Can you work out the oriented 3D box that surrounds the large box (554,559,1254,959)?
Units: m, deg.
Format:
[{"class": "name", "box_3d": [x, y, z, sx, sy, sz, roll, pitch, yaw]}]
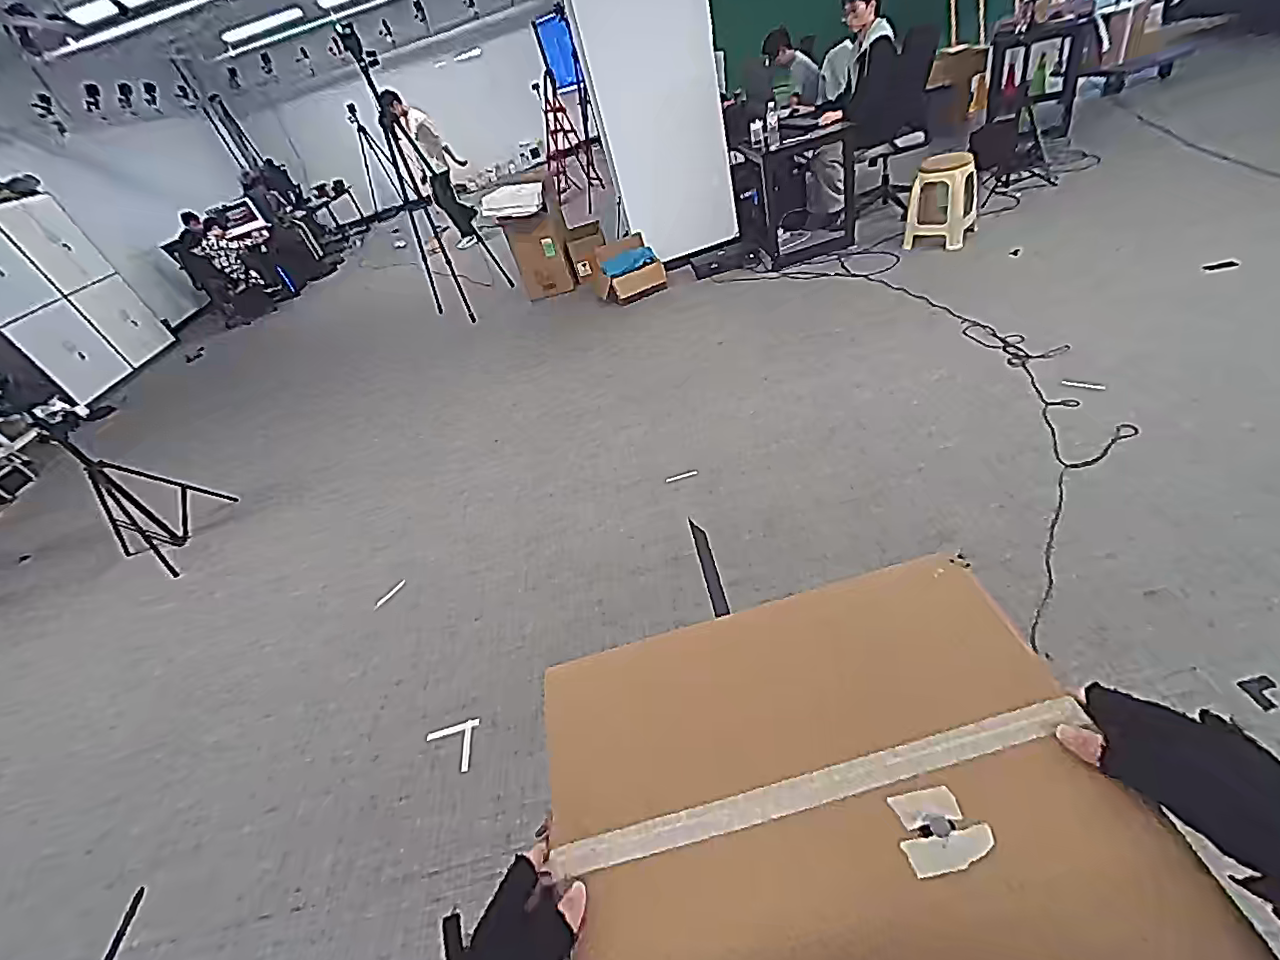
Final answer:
[{"class": "large box", "box_3d": [0.166, 0.338, 0.518, 0.408, 0.320, 0.320, -17, 45, 0]}]
